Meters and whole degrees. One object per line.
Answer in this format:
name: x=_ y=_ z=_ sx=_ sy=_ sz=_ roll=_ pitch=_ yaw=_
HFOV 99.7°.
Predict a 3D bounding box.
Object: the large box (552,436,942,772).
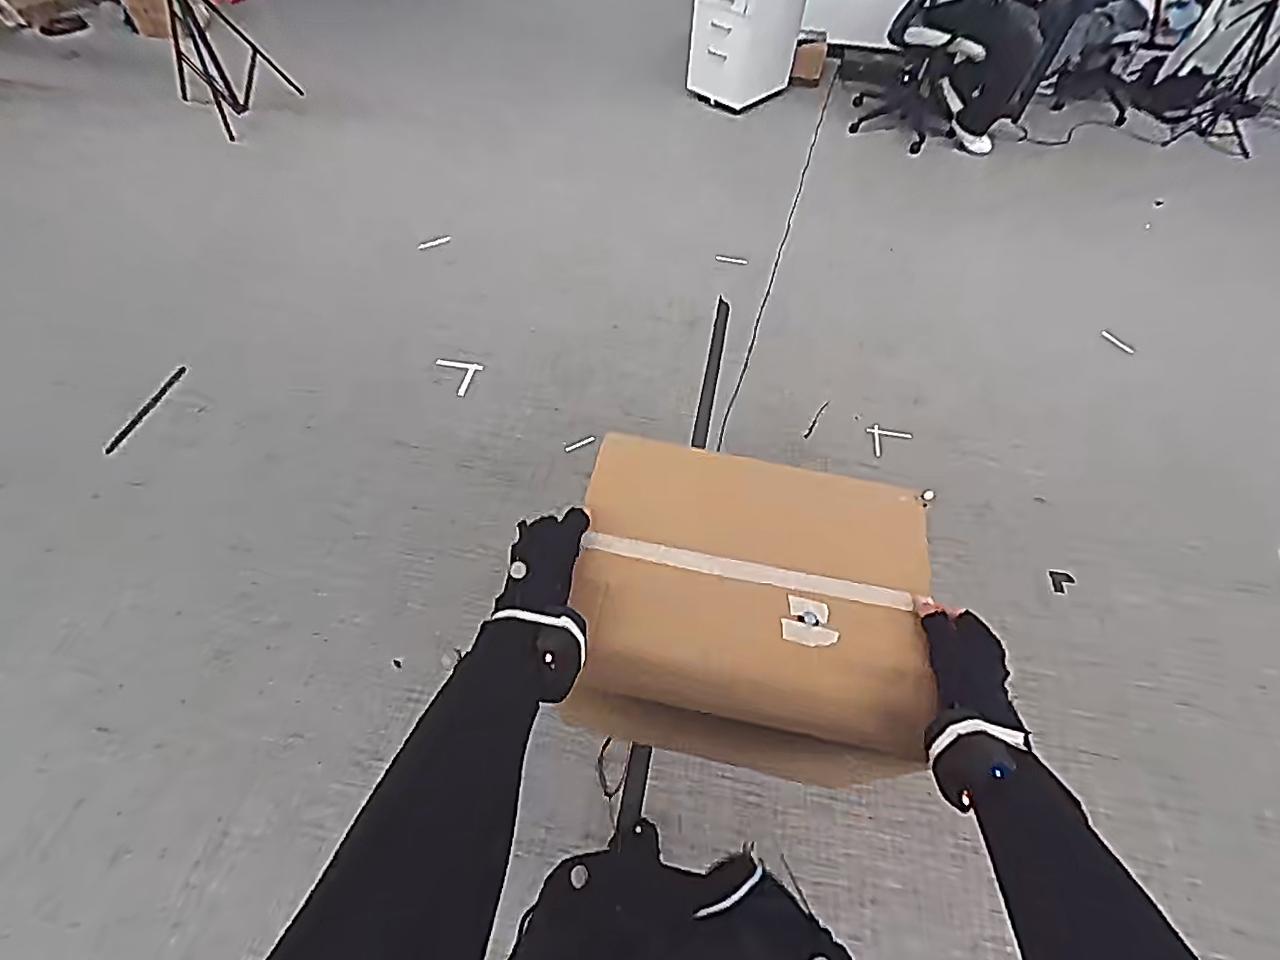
large box: x=0.124 y=0.181 z=0.744 sx=0.408 sy=0.320 sz=0.320 roll=11 pitch=59 yaw=5
